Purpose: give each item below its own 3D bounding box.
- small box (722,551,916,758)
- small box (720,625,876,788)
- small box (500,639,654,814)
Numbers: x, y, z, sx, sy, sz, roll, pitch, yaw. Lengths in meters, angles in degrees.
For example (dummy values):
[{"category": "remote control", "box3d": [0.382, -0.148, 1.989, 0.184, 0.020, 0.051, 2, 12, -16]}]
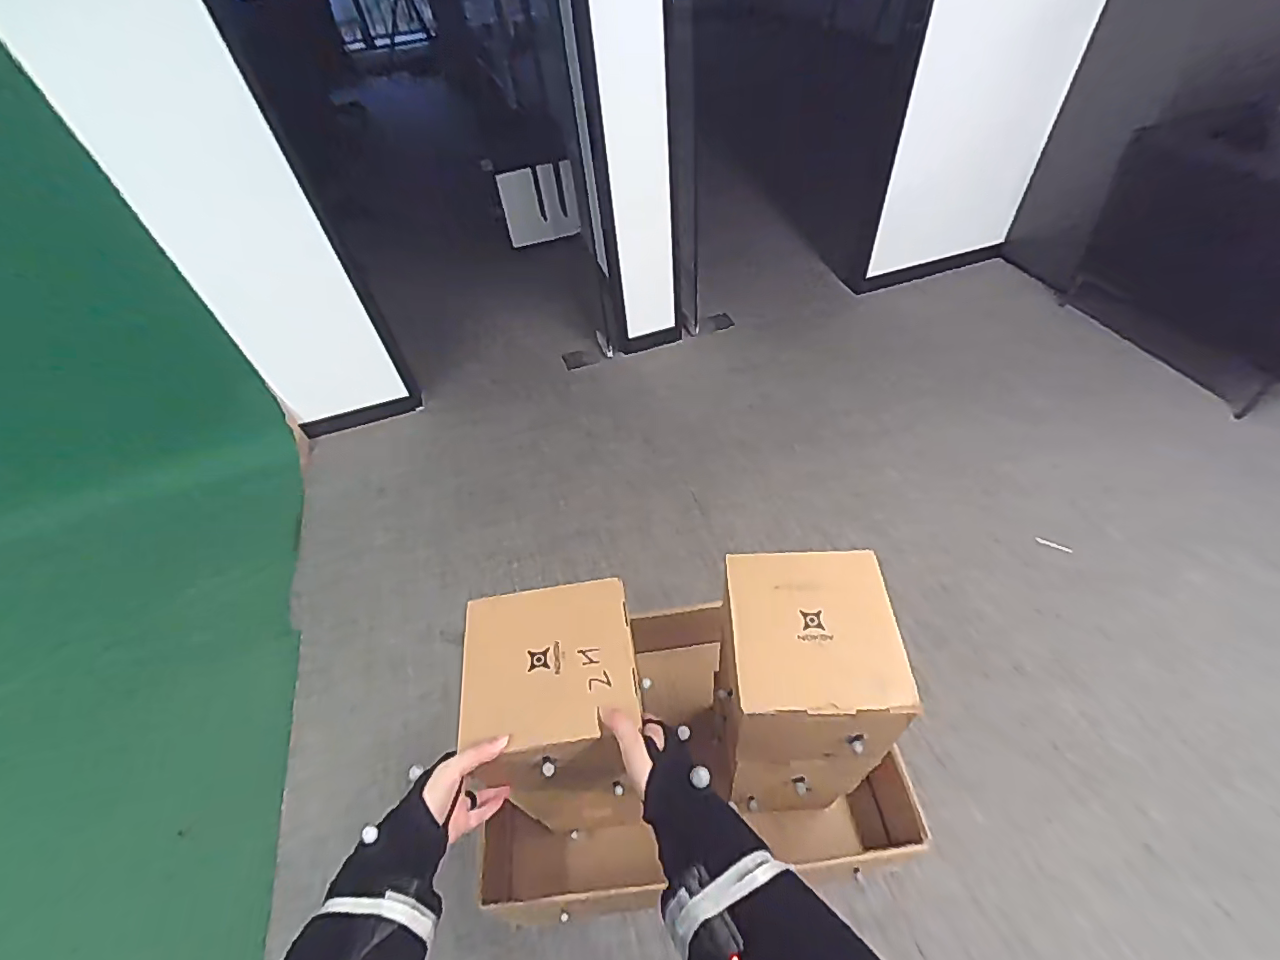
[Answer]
[{"category": "small box", "box3d": [0.180, 0.200, 0.607, 0.168, 0.176, 0.179, -2, 48, 5]}, {"category": "small box", "box3d": [0.198, 0.306, 0.731, 0.168, 0.176, 0.179, -3, 50, 4]}, {"category": "small box", "box3d": [-0.080, 0.342, 0.742, 0.179, 0.176, 0.168, -8, 49, -2]}]
